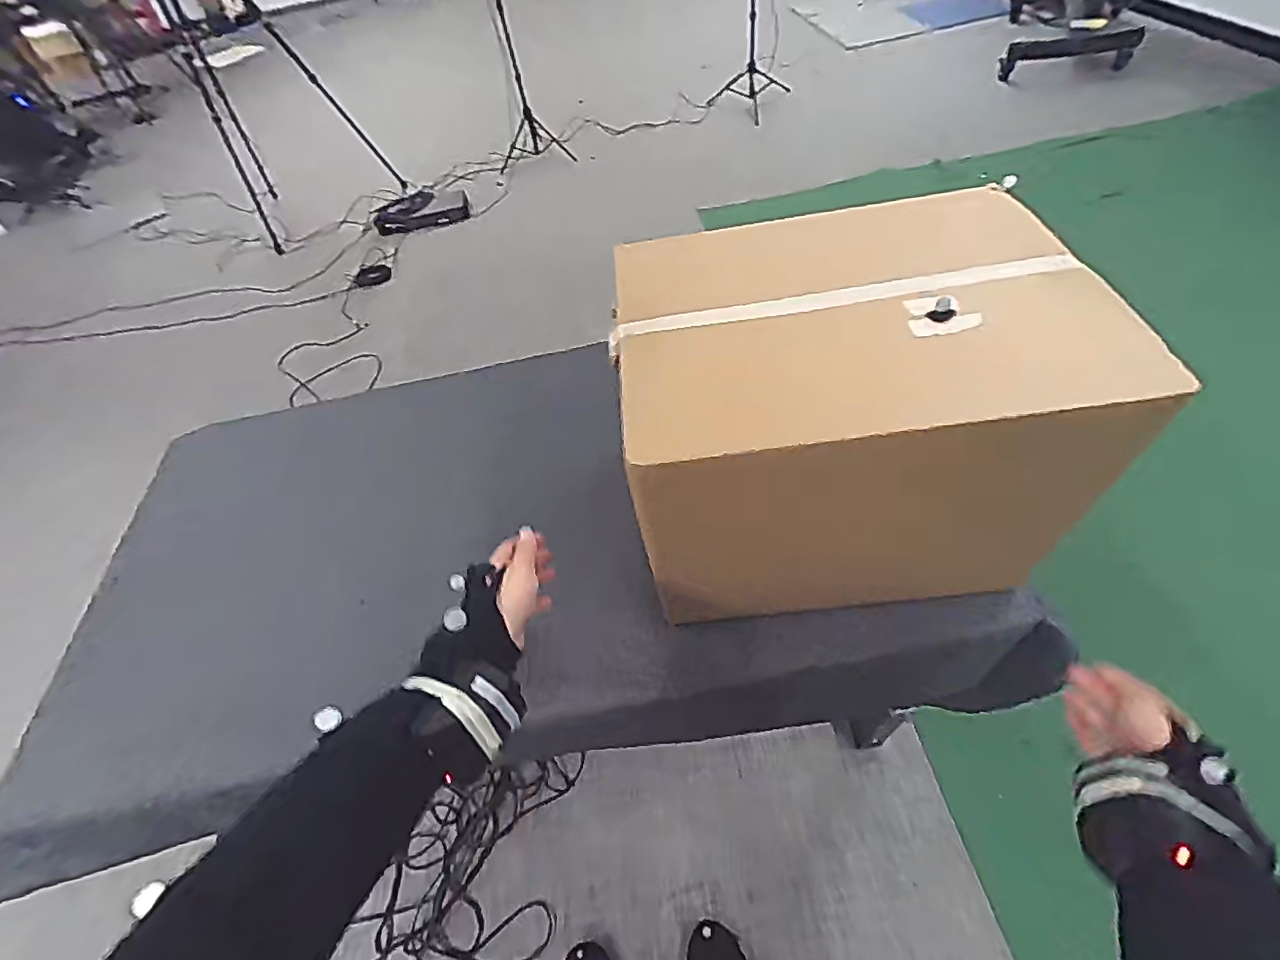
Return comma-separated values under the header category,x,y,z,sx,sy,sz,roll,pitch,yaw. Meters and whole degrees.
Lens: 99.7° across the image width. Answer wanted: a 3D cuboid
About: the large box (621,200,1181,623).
category,x,y,z,sx,sy,sz,roll,pitch,yaw
large box,0.202,-0.063,0.605,0.408,0.320,0.320,-7,53,3
